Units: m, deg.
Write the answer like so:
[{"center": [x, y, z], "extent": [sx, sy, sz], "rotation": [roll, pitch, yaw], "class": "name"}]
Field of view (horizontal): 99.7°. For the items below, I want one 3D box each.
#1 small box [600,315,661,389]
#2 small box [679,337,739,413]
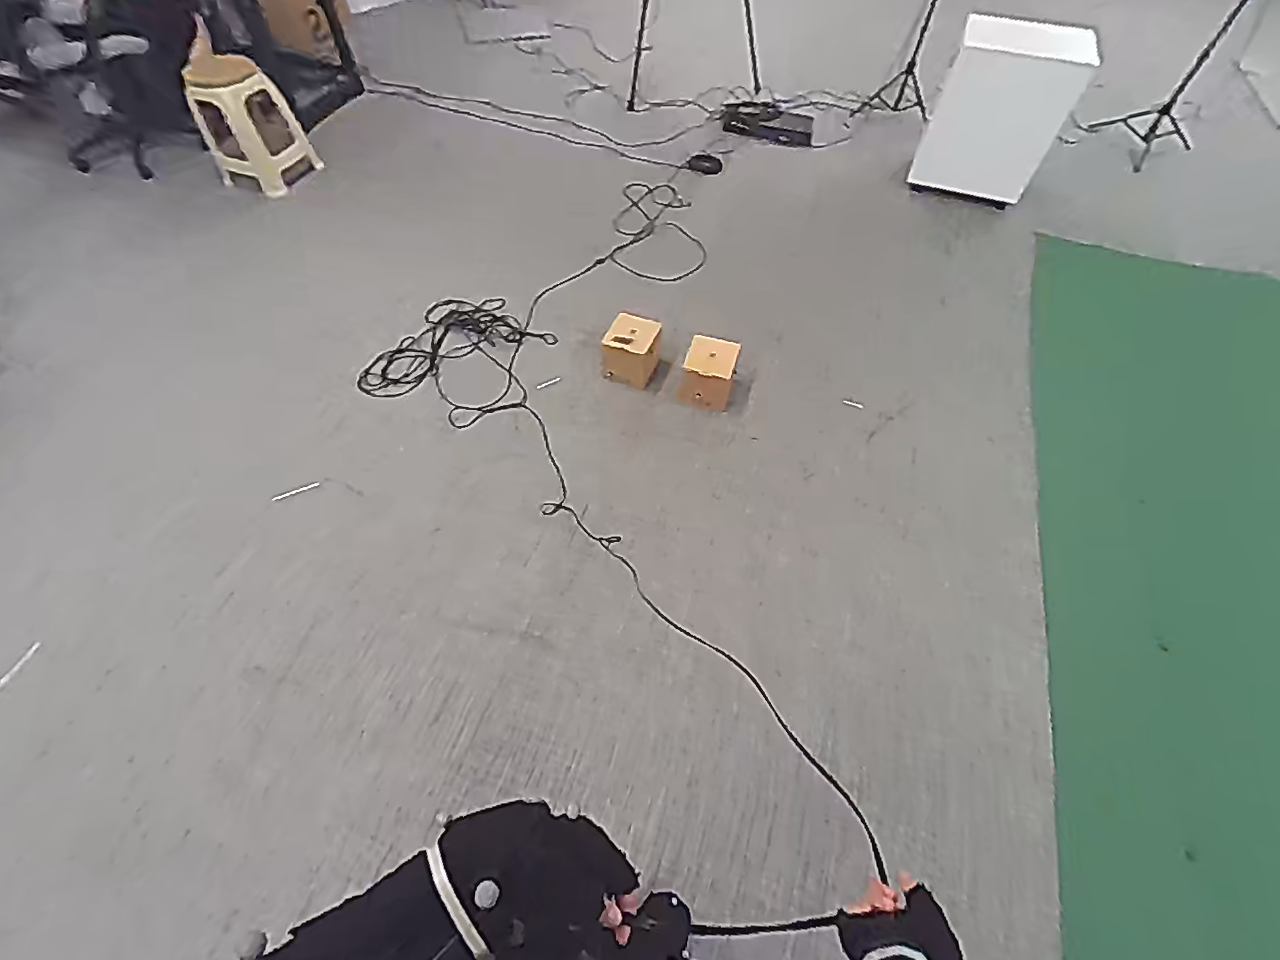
[{"center": [-0.032, -0.459, 1.956], "extent": [0.168, 0.176, 0.179], "rotation": [19, 58, 12], "class": "small box"}, {"center": [0.239, -0.367, 1.901], "extent": [0.168, 0.176, 0.179], "rotation": [15, 58, 9], "class": "small box"}]
